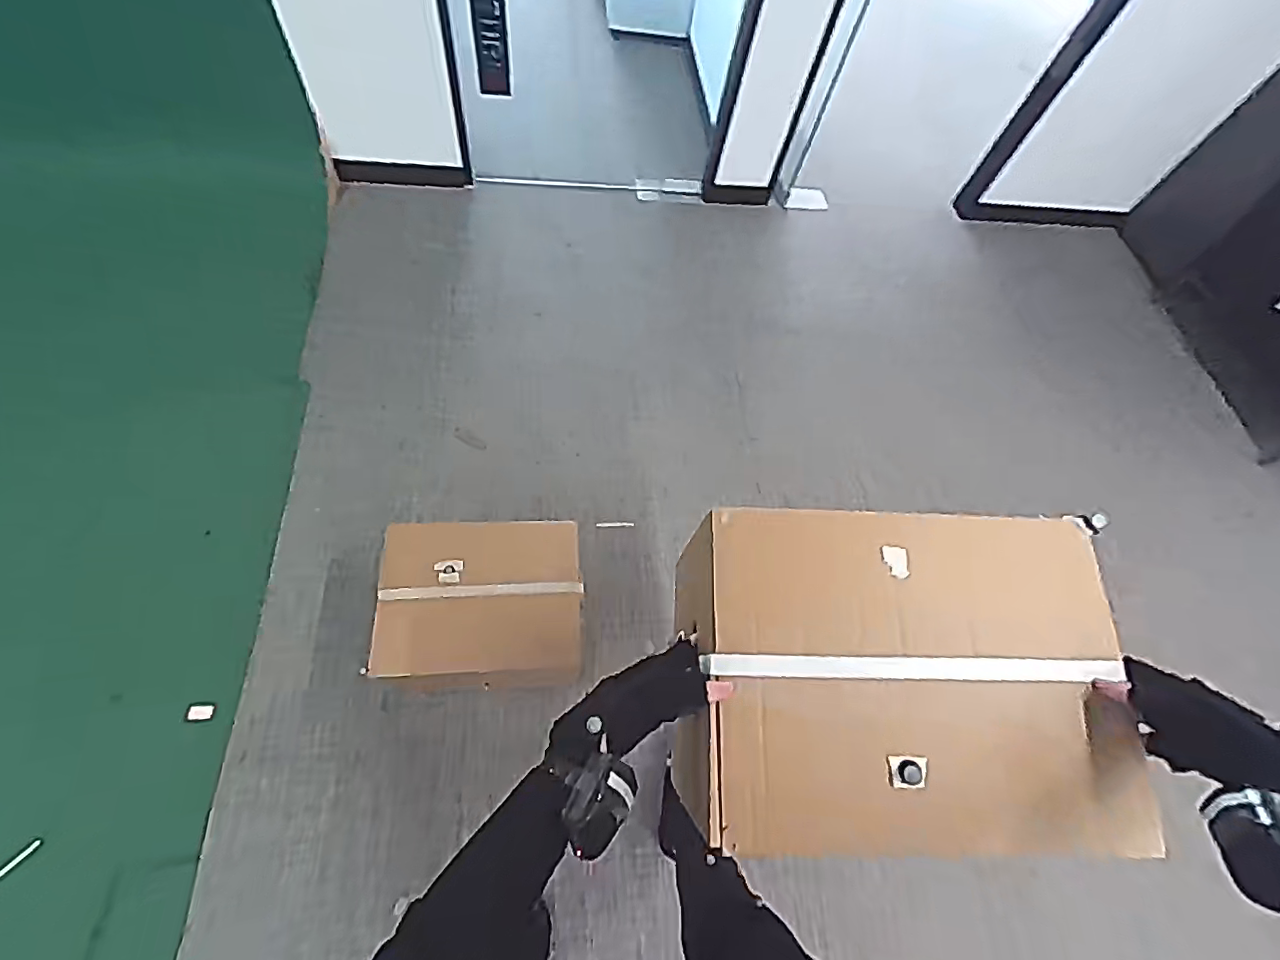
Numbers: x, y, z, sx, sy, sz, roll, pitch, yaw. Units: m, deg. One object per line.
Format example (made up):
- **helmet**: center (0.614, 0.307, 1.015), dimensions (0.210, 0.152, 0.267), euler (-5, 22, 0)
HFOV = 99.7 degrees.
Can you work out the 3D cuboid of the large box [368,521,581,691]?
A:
- **large box**: center (-0.345, 0.299, 1.242), dimensions (0.408, 0.320, 0.320), euler (0, 63, -8)
